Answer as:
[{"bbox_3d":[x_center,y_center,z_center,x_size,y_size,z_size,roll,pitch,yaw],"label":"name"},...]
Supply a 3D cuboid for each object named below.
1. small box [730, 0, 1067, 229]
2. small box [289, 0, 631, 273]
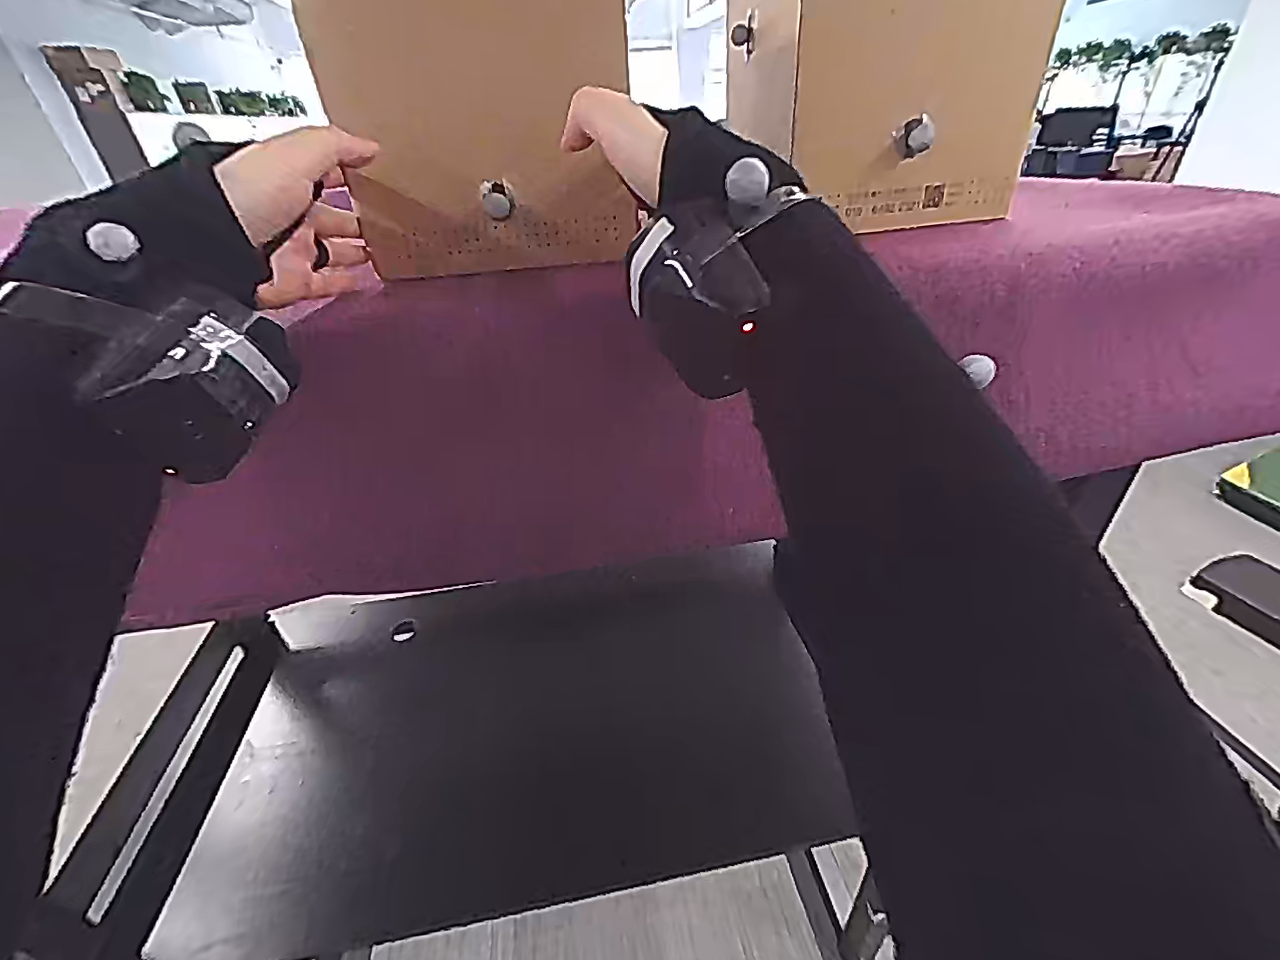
[{"bbox_3d":[0.166,-0.292,0.405,0.168,0.176,0.179,-7,33,-3],"label":"small box"},{"bbox_3d":[-0.099,-0.250,0.374,0.179,0.176,0.168,-6,33,-4],"label":"small box"}]
